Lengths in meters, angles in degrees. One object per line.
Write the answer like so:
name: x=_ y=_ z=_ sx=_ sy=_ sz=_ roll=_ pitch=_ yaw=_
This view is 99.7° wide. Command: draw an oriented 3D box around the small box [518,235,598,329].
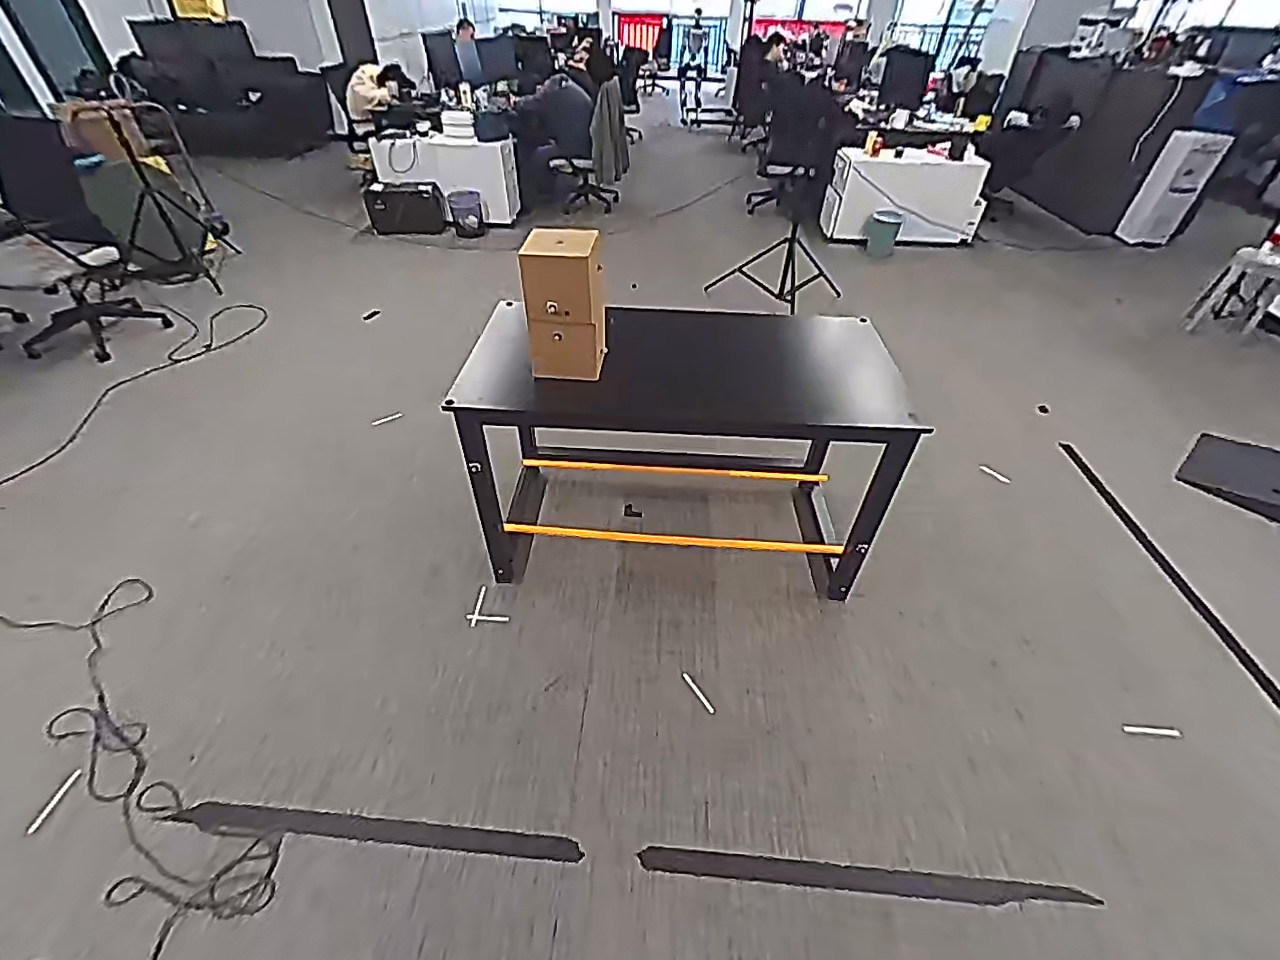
small box: x=-0.195 y=-0.493 z=1.345 sx=0.168 sy=0.176 sz=0.179 roll=2 pitch=43 yaw=3

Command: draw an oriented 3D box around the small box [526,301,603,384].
small box: x=-0.196 y=-0.374 z=1.455 sx=0.179 sy=0.176 sz=0.168 roll=4 pitch=42 yaw=2
